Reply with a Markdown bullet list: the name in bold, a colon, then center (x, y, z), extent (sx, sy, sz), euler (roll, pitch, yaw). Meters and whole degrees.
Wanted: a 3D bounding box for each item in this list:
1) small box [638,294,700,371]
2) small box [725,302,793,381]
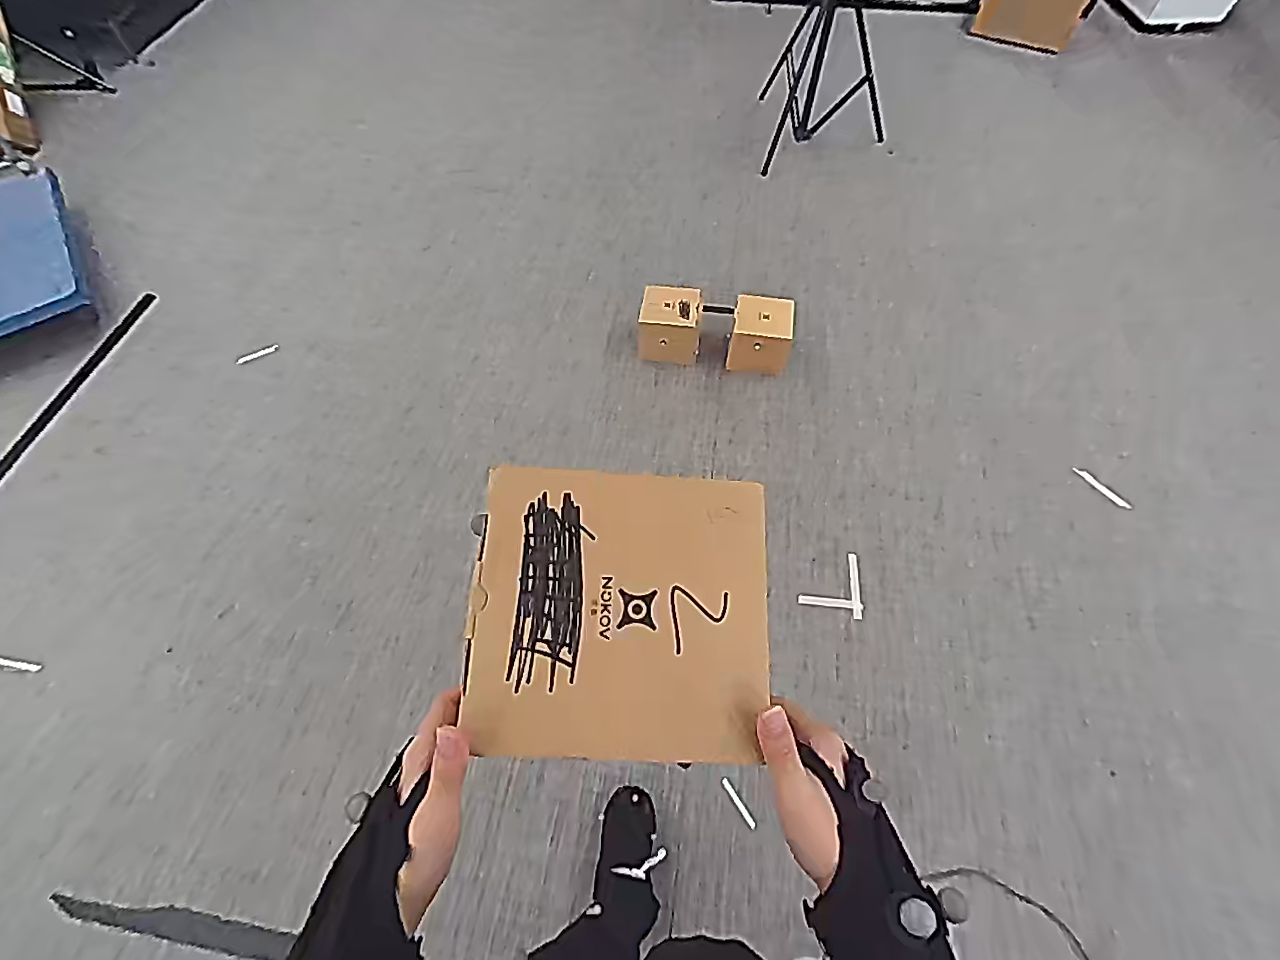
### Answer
- **small box**: center (0.093, -0.469, 1.731), extent (0.179, 0.176, 0.168), euler (7, 60, 6)
- **small box**: center (0.373, -0.433, 1.707), extent (0.179, 0.176, 0.168), euler (8, 61, 6)
